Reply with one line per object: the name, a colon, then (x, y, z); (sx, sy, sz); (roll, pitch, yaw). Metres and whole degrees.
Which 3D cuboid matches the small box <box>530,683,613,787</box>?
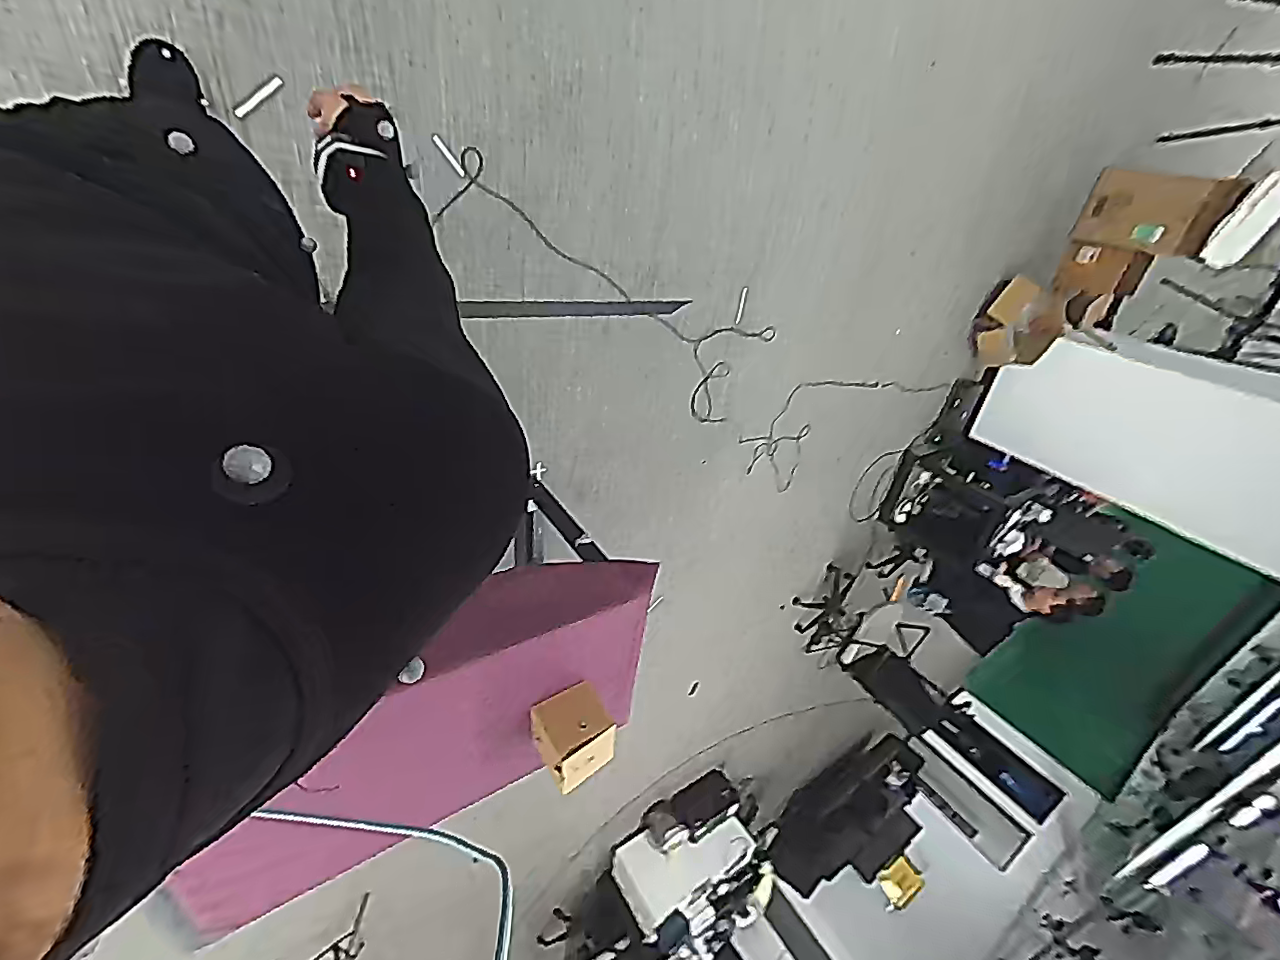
small box: (-0.195, 0.709, 1.525); (0.179, 0.176, 0.168); (-17, 128, -30)
